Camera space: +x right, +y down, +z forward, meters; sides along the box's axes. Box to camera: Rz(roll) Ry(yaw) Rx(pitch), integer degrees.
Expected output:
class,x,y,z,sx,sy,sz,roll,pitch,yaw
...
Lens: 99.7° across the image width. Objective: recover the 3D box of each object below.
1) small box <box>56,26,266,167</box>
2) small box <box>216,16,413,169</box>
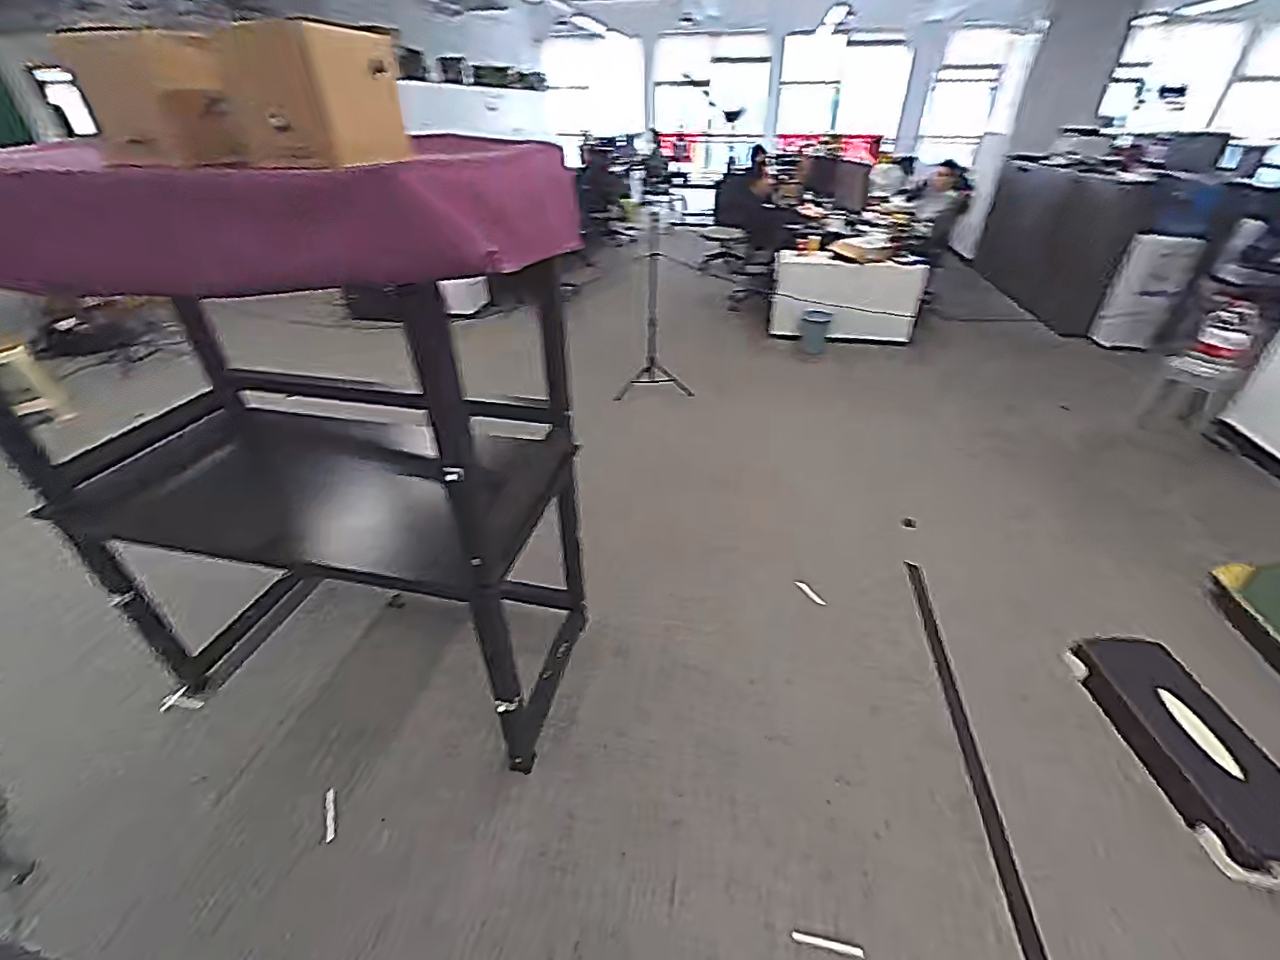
class,x,y,z,sx,sy,sz,roll,pitch,yaw
small box,-0.730,-0.601,0.858,0.179,0.176,0.168,10,34,13
small box,-0.466,-0.571,0.811,0.168,0.176,0.179,8,34,14
